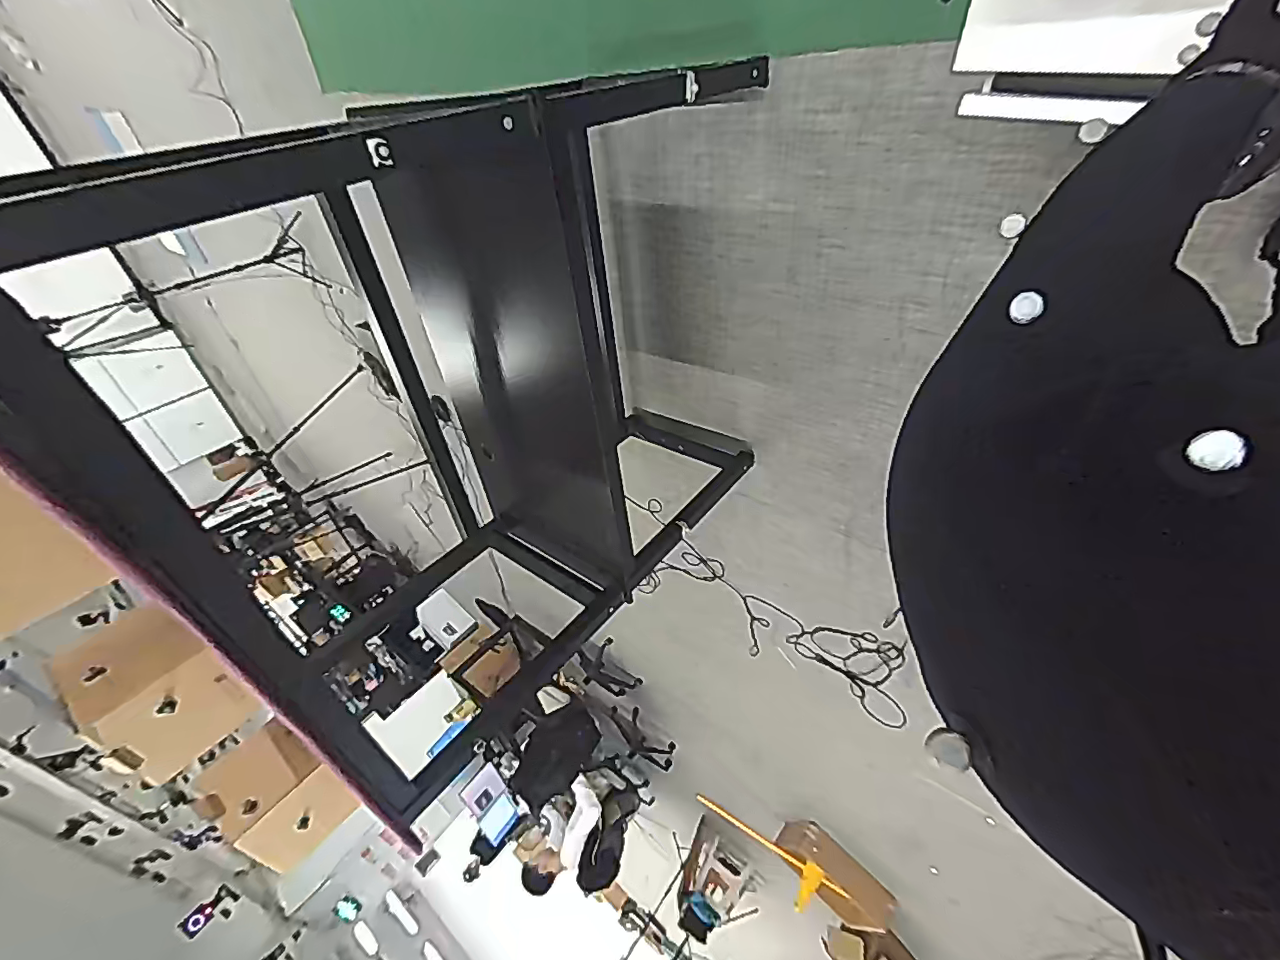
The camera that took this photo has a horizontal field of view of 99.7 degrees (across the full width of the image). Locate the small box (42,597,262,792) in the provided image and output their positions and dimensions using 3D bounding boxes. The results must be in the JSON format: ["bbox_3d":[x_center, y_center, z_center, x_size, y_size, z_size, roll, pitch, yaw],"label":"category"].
[{"bbox_3d":[-0.705,0.306,0.801,0.179,0.176,0.168,25,137,32],"label":"small box"}]

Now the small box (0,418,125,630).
[{"bbox_3d":[-0.746,0.058,0.614,0.168,0.176,0.179,25,138,35],"label":"small box"}]
